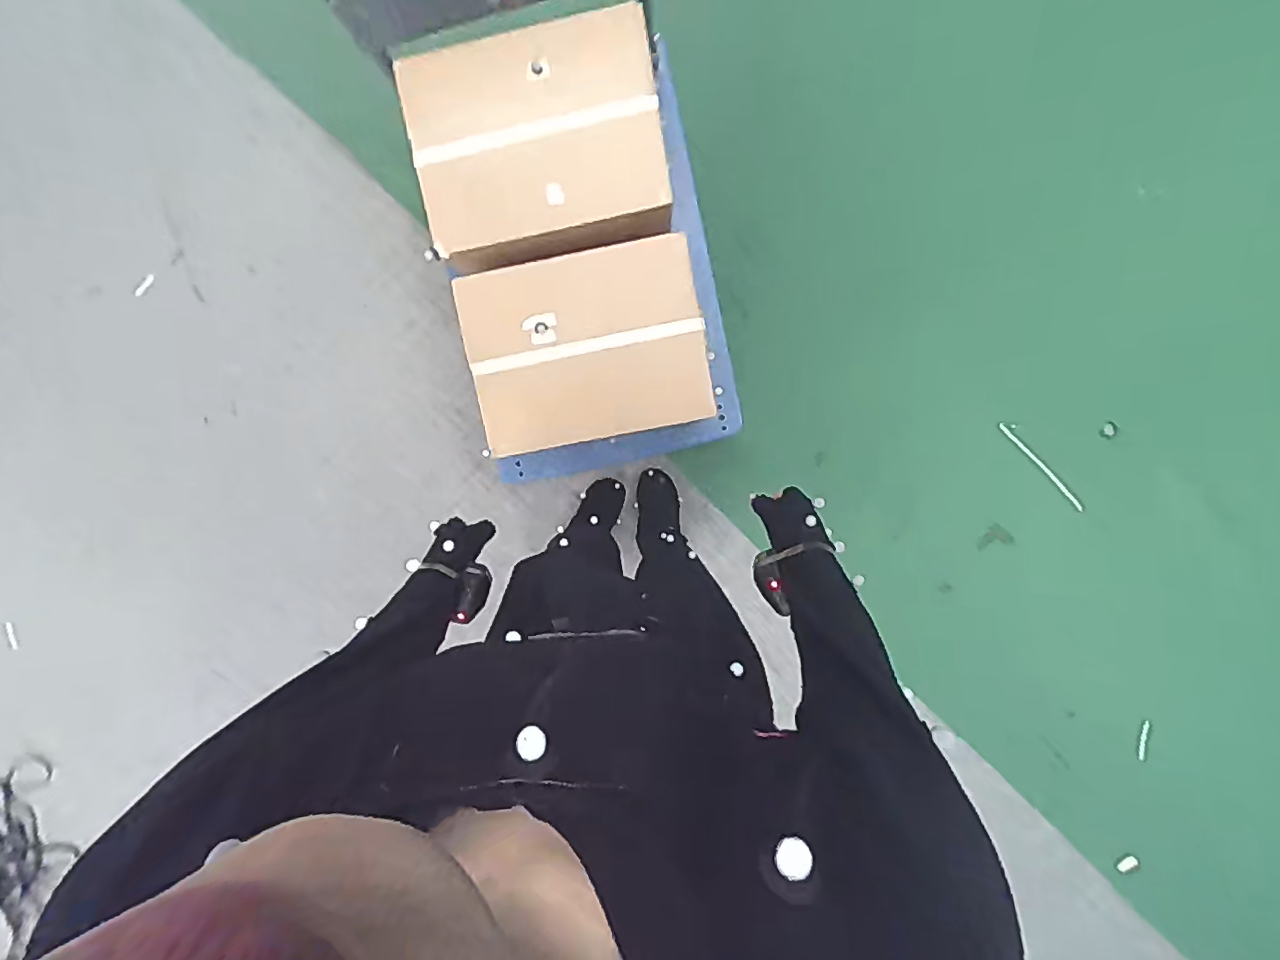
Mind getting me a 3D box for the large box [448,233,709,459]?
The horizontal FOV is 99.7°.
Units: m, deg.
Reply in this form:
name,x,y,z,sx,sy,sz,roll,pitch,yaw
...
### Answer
name,x,y,z,sx,sy,sz,roll,pitch,yaw
large box,-0.096,-0.242,1.064,0.408,0.320,0.320,-10,96,4
